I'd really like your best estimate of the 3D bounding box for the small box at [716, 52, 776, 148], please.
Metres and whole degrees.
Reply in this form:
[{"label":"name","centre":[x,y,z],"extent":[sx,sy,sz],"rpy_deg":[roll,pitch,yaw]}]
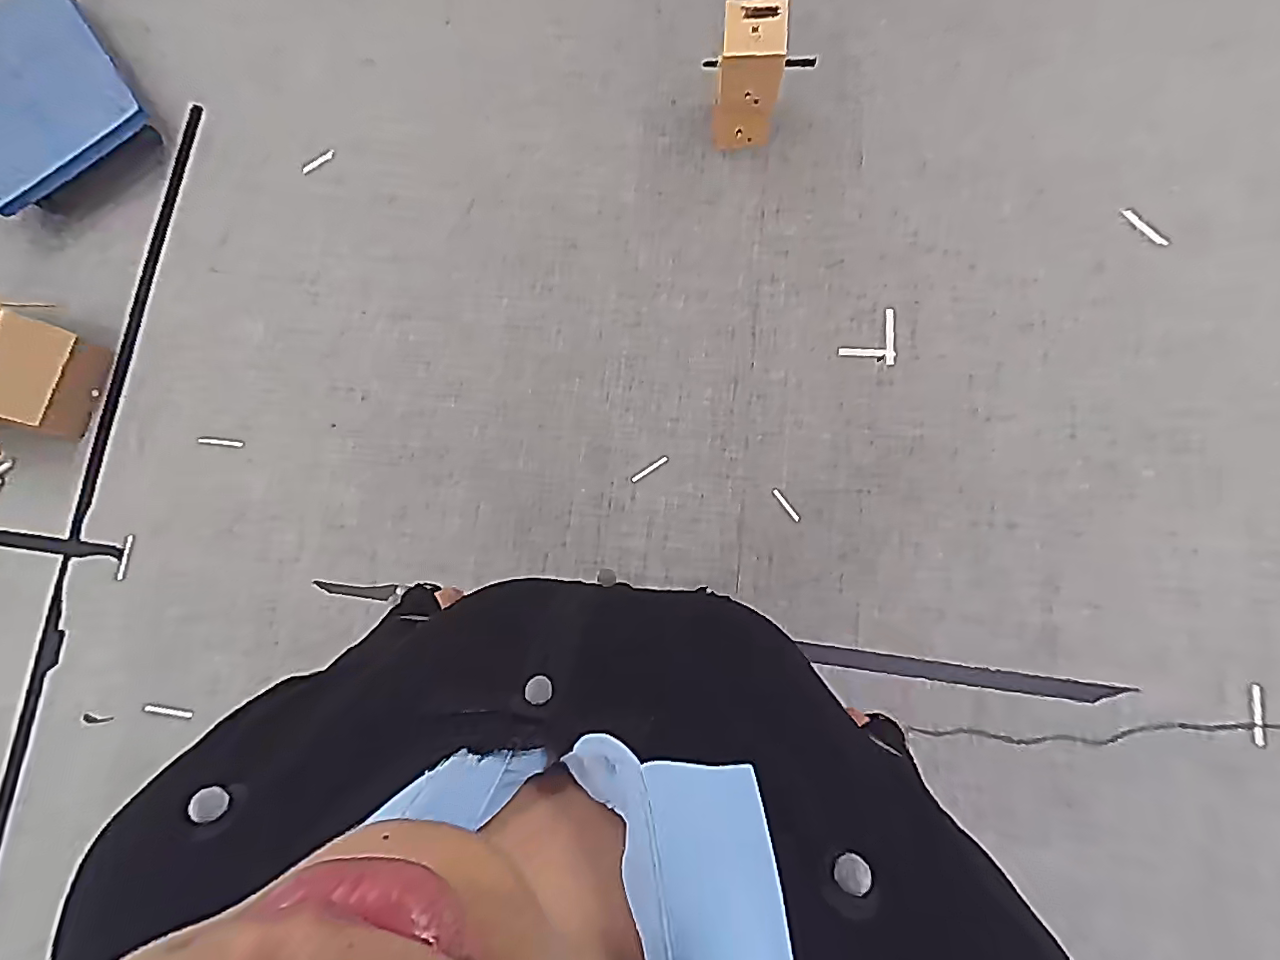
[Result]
[{"label":"small box","centre":[0.321,-1.162,1.660],"extent":[0.168,0.176,0.179],"rpy_deg":[0,80,5]}]
